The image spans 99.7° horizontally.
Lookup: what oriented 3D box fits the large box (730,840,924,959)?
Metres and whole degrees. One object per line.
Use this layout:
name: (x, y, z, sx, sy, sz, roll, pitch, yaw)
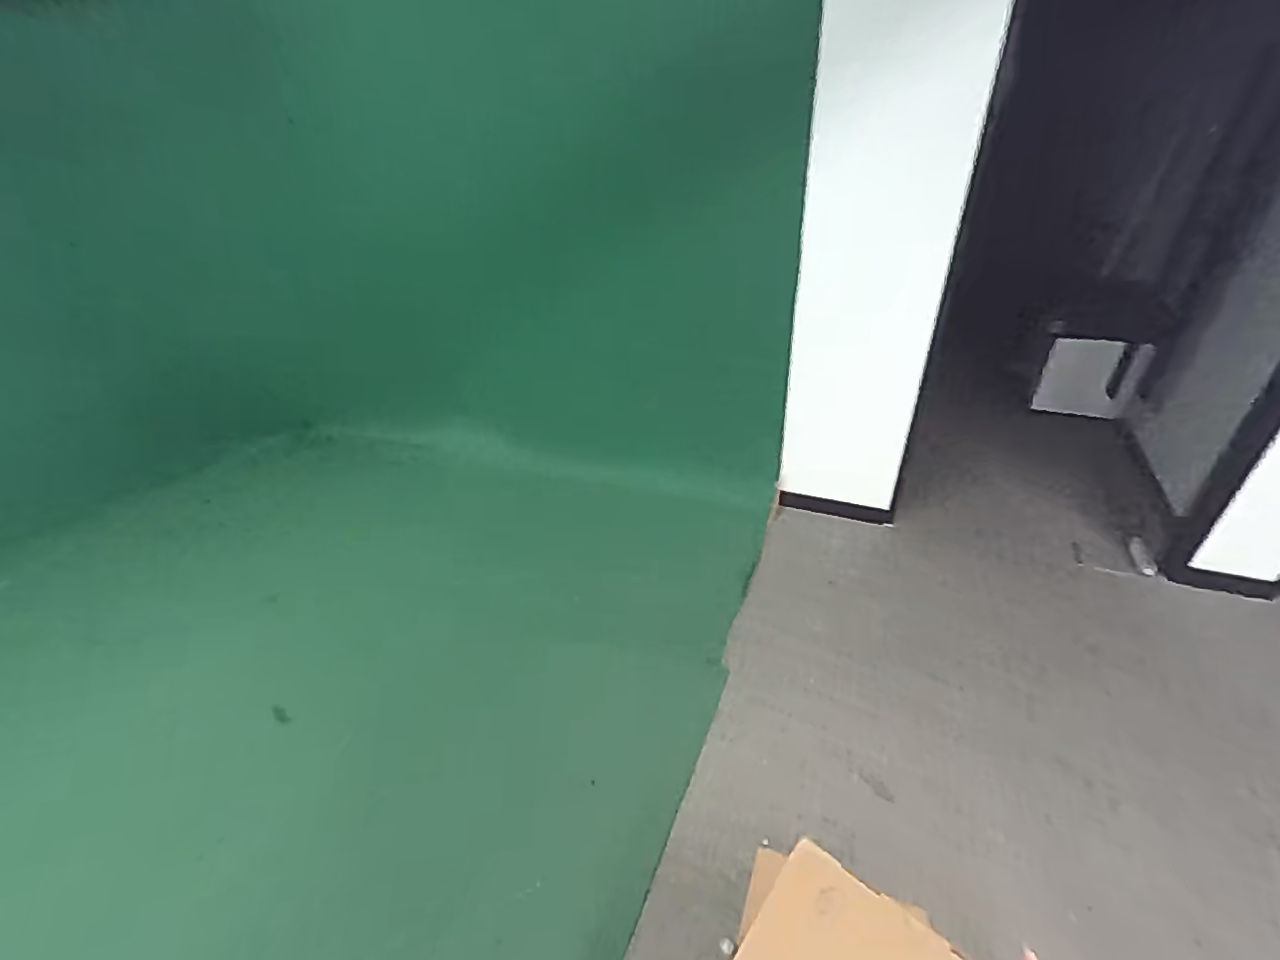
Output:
large box: (0.316, 0.987, 0.981, 0.320, 0.320, 0.408, 11, 37, 21)
